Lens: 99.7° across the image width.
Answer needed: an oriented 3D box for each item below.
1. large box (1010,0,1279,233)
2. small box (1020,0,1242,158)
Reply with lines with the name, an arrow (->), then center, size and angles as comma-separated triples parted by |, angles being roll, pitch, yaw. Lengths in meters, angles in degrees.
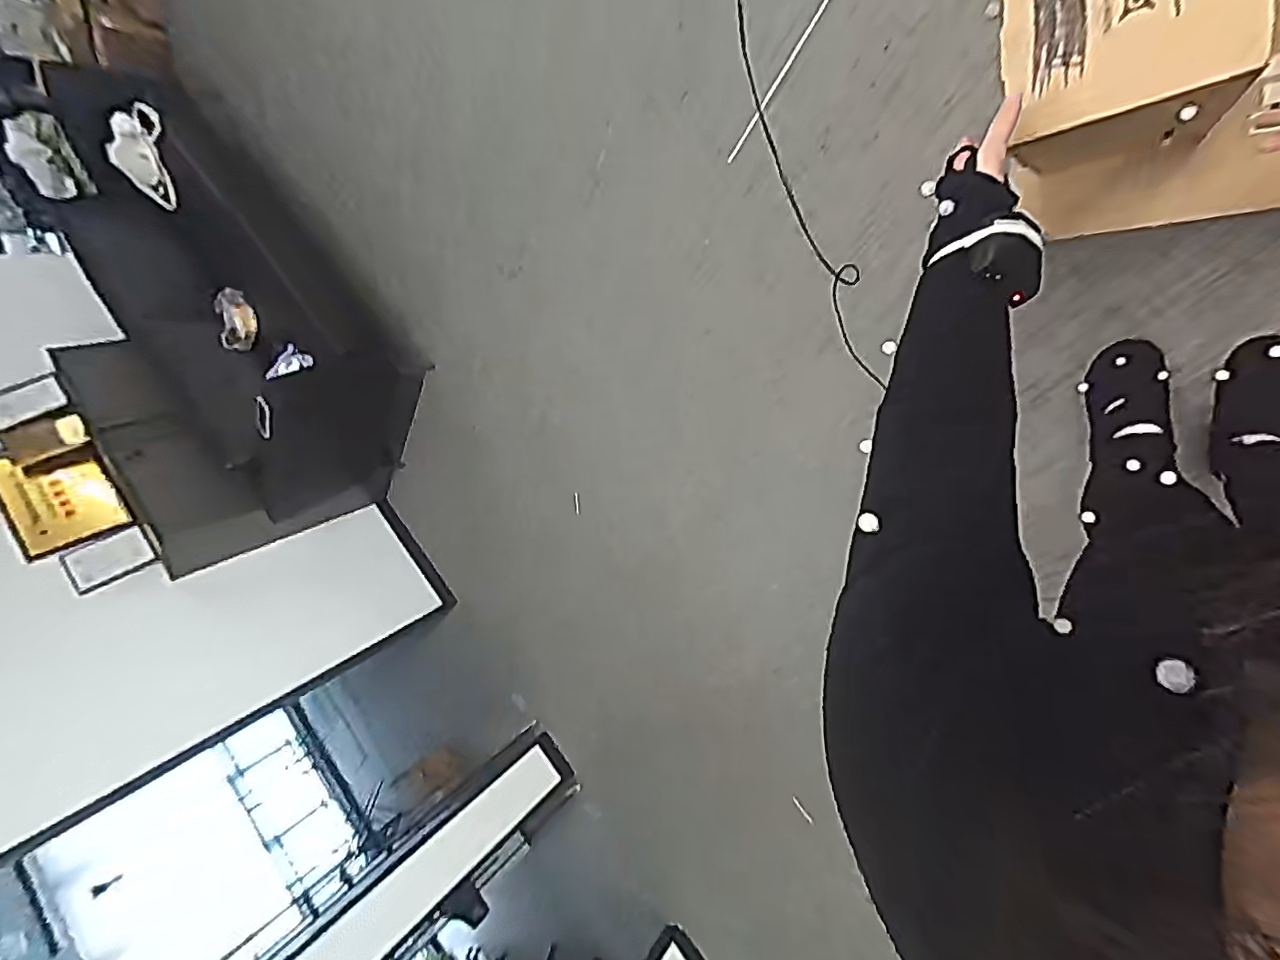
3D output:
large box -> 0.778, -0.552, 0.751 | 0.408, 0.320, 0.320 | 7, 116, 39
small box -> 0.558, -0.494, 0.626 | 0.179, 0.176, 0.168 | 3, 112, 41
